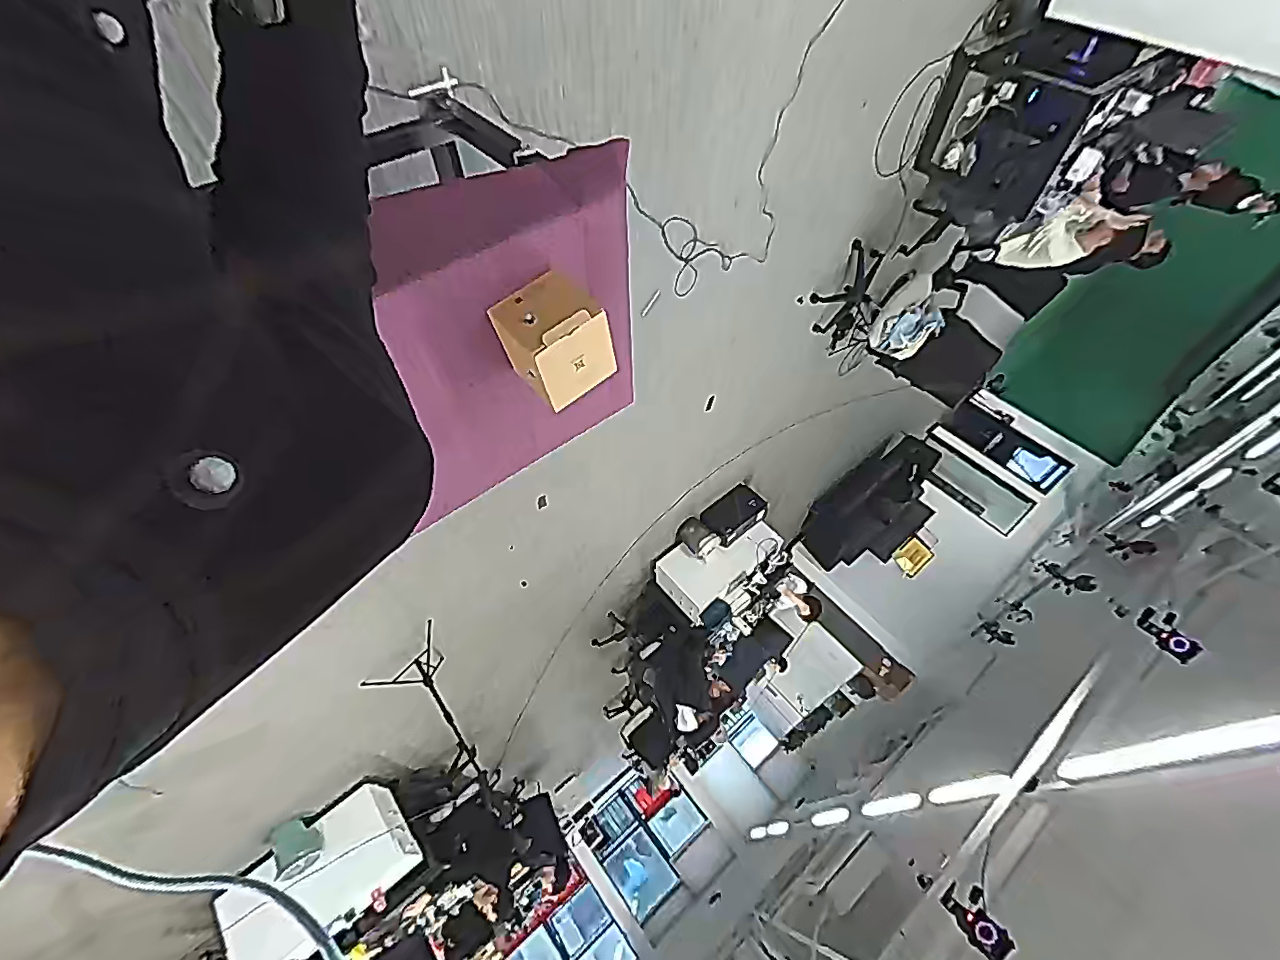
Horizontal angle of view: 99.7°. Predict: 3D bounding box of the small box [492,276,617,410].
[{"bbox_3d":[-0.171,-0.283,1.092,0.168,0.176,0.179,-37,153,-14],"label":"small box"}]
